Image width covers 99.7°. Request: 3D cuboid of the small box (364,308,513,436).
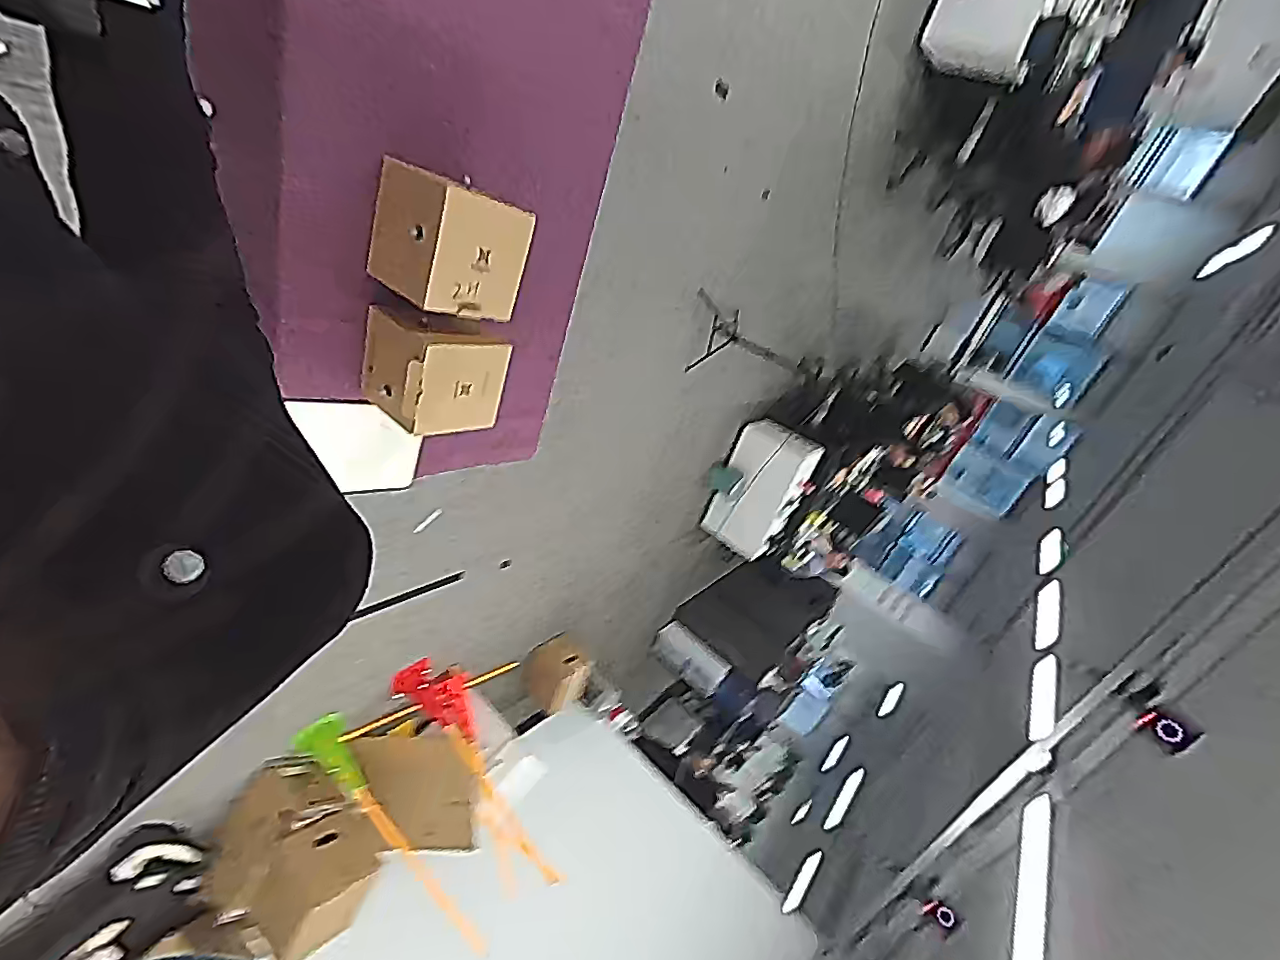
[{"bbox_3d":[-0.361,-0.194,0.959,0.179,0.176,0.168,-16,134,-53],"label":"small box"}]
